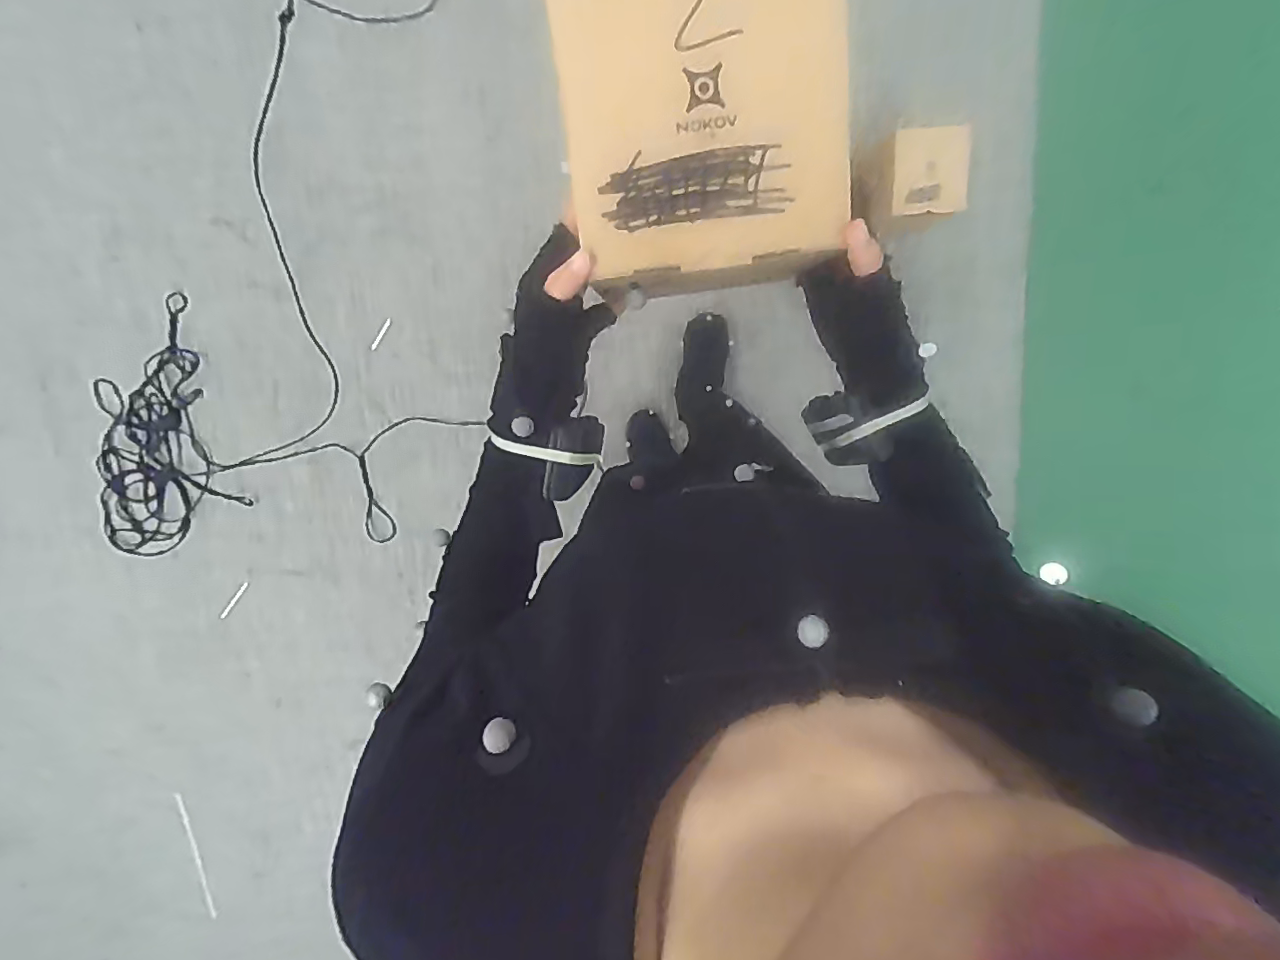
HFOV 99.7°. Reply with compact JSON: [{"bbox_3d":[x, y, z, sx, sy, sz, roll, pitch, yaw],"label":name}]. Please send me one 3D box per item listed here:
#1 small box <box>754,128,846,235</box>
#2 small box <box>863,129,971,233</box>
[{"bbox_3d":[0.363,-0.684,1.254,0.168,0.176,0.179,-2,101,0],"label":"small box"},{"bbox_3d":[0.632,-0.682,1.255,0.168,0.176,0.179,-2,100,0],"label":"small box"}]
